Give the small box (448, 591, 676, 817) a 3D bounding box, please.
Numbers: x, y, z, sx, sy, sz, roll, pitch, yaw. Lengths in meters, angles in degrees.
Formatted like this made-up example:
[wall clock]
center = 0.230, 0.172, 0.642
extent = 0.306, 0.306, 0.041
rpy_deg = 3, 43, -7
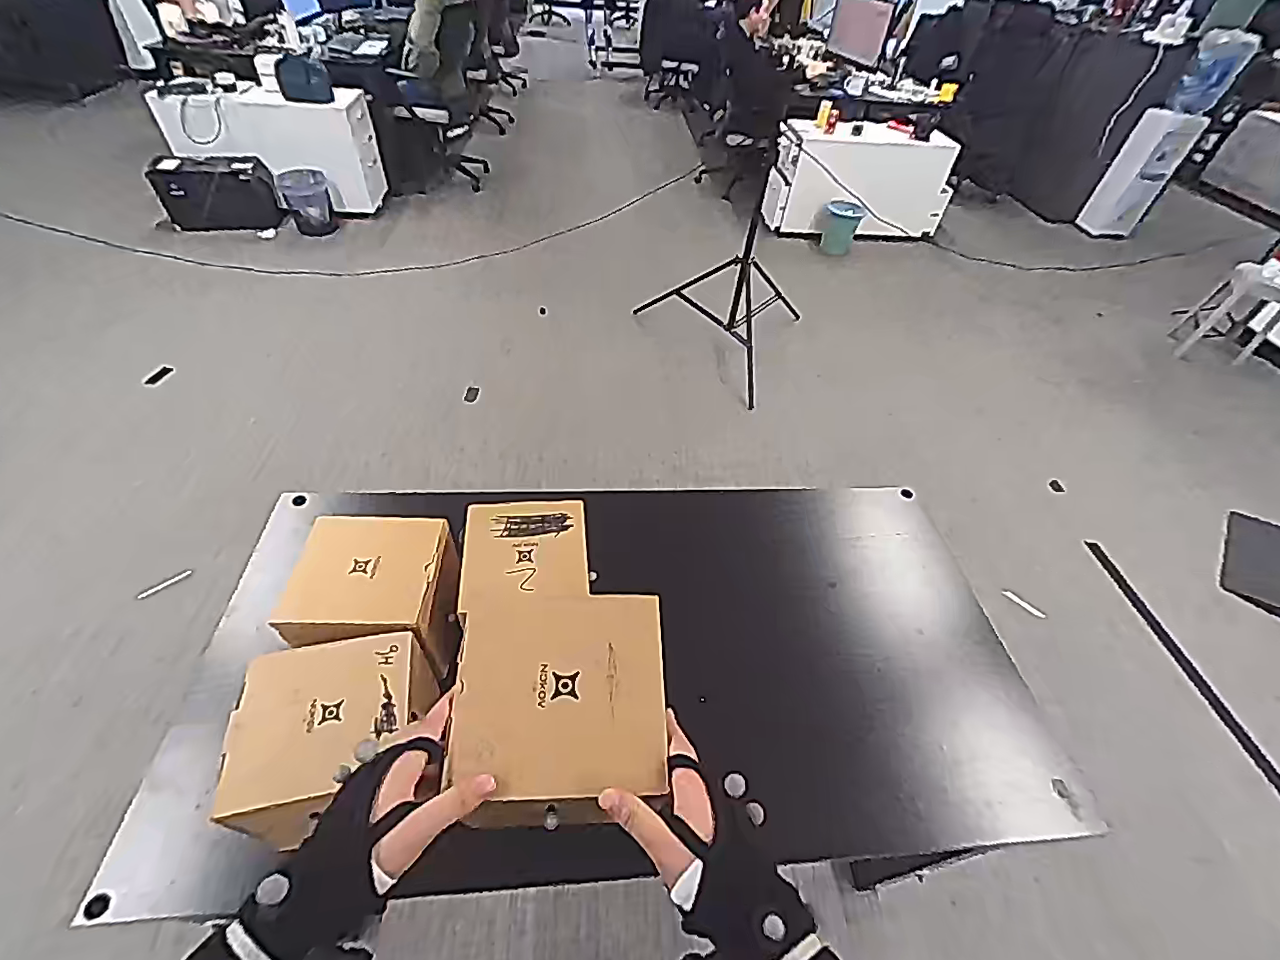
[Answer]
[small box]
center = -0.068, 0.218, 0.519
extent = 0.179, 0.176, 0.168
rpy_deg = 1, 54, -6
